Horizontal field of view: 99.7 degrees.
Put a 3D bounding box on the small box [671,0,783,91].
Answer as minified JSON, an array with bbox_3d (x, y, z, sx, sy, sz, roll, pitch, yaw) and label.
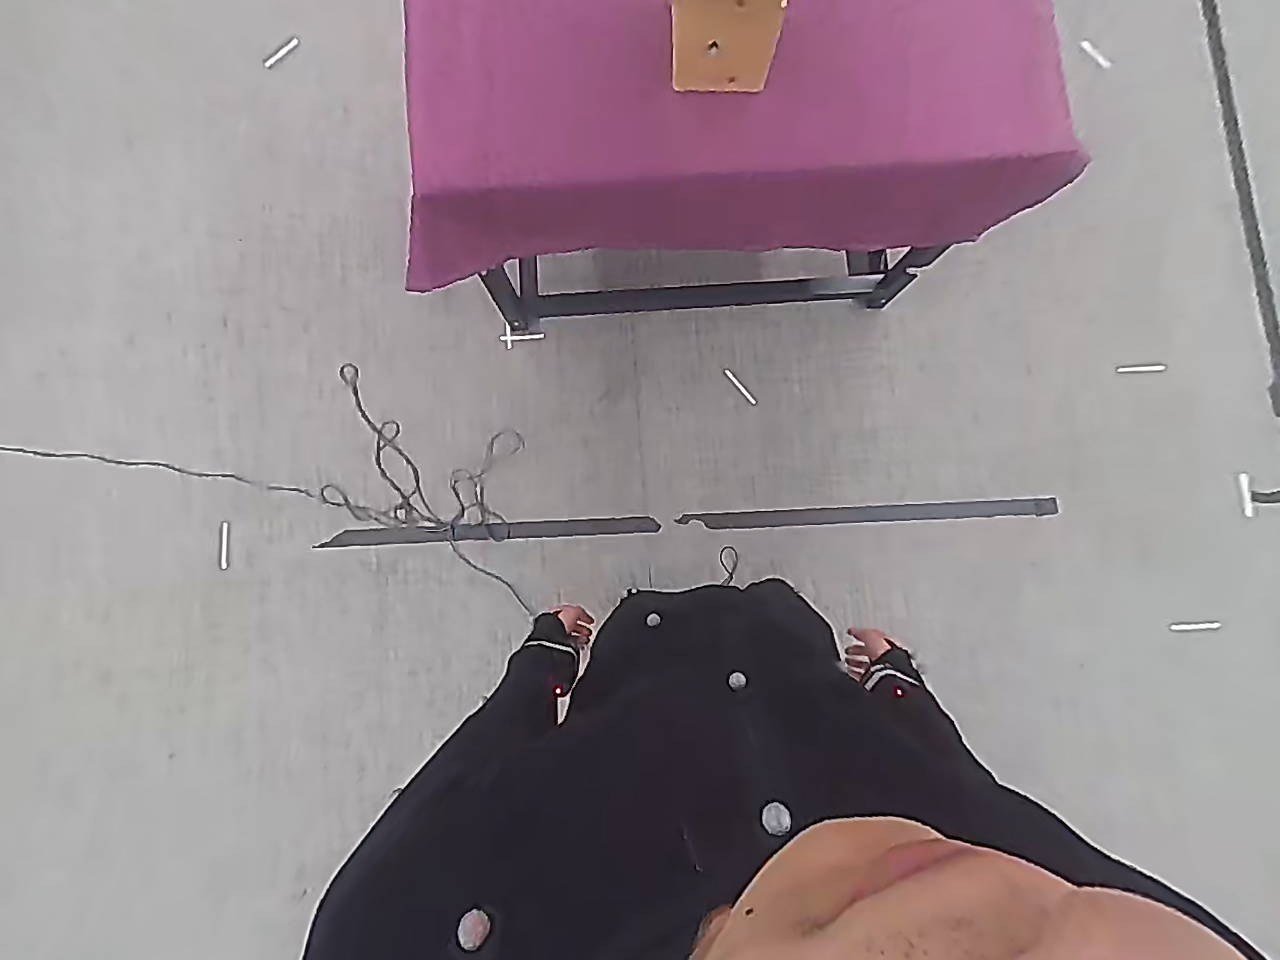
[{"bbox_3d":[0.141,-0.803,0.920,0.168,0.176,0.179,0,83,0],"label":"small box"}]

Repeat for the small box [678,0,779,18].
[{"bbox_3d":[0.137,-0.809,0.755,0.168,0.176,0.179,7,84,1],"label":"small box"}]
